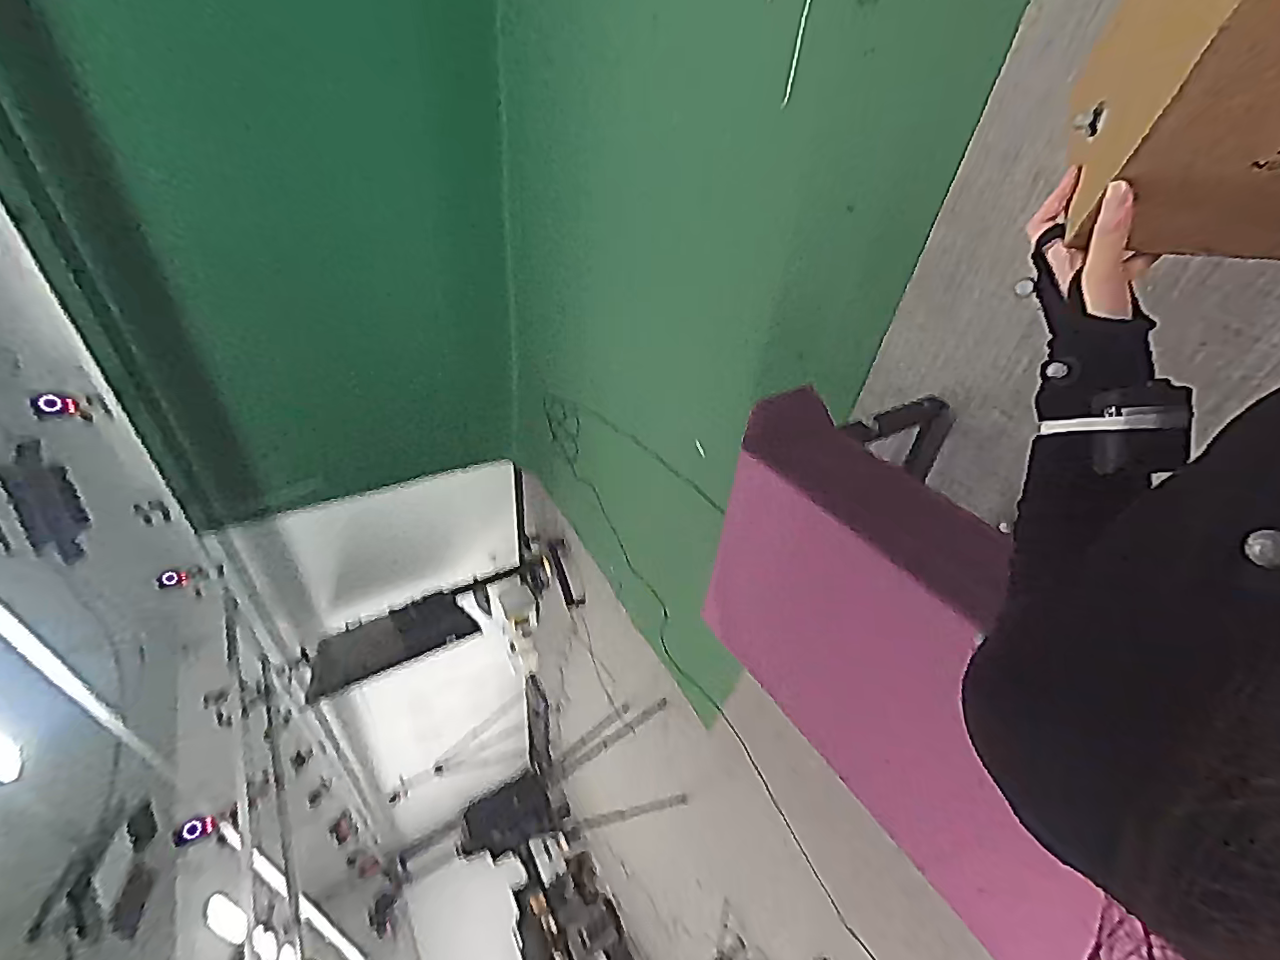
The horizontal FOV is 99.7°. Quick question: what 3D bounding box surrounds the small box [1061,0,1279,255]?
[{"bbox_3d":[0.402,-0.271,0.330,0.179,0.168,0.176,66,-141,-68],"label":"small box"}]
